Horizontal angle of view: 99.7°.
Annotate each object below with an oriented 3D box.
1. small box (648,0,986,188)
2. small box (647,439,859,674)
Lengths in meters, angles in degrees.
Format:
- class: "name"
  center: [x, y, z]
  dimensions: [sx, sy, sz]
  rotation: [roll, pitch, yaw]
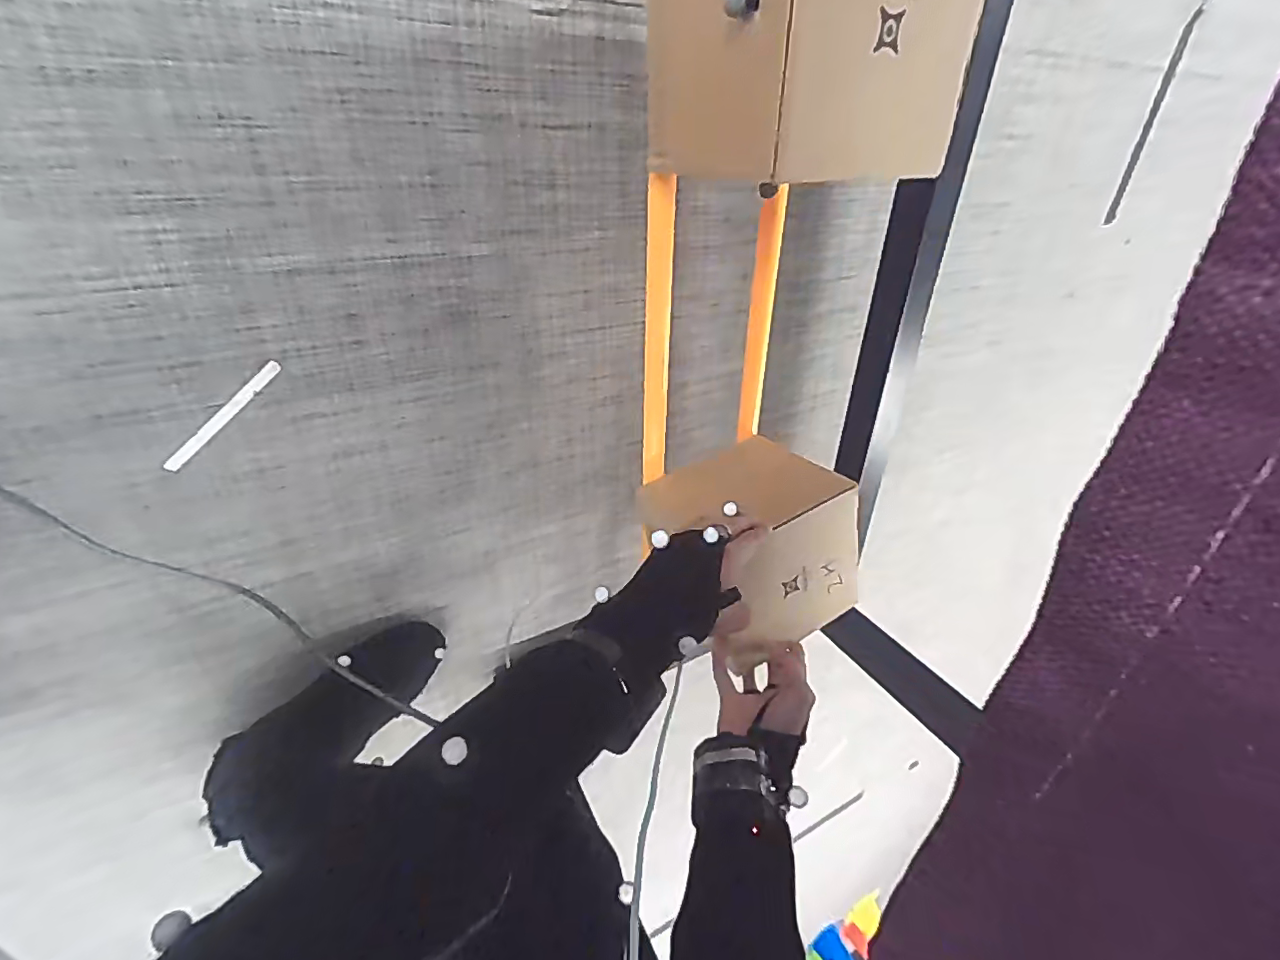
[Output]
- class: "small box"
  center: [0.115, -0.319, 0.392]
  dimensions: [0.168, 0.176, 0.179]
  rotation: [-16, 125, -23]
- class: "small box"
  center: [0.121, 0.075, 0.616]
  dimensions: [0.179, 0.176, 0.168]
  rotation: [-24, 122, -19]
